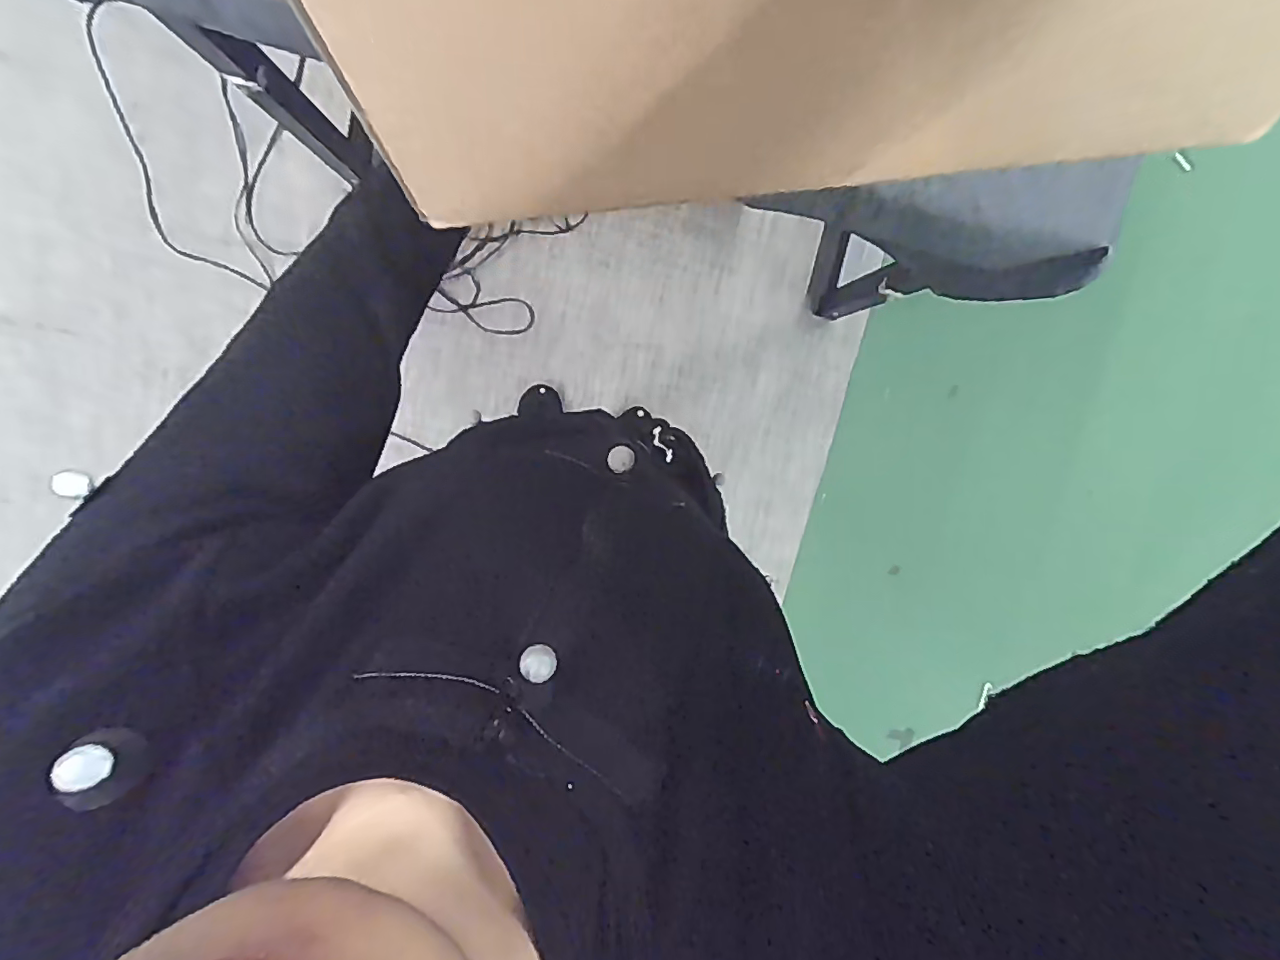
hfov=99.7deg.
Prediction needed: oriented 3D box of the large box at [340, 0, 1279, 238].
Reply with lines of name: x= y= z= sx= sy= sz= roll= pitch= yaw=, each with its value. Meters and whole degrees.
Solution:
large box: x=0.070 y=-0.352 z=0.223 sx=0.408 sy=0.320 sz=0.320 roll=-4 pitch=63 yaw=9
